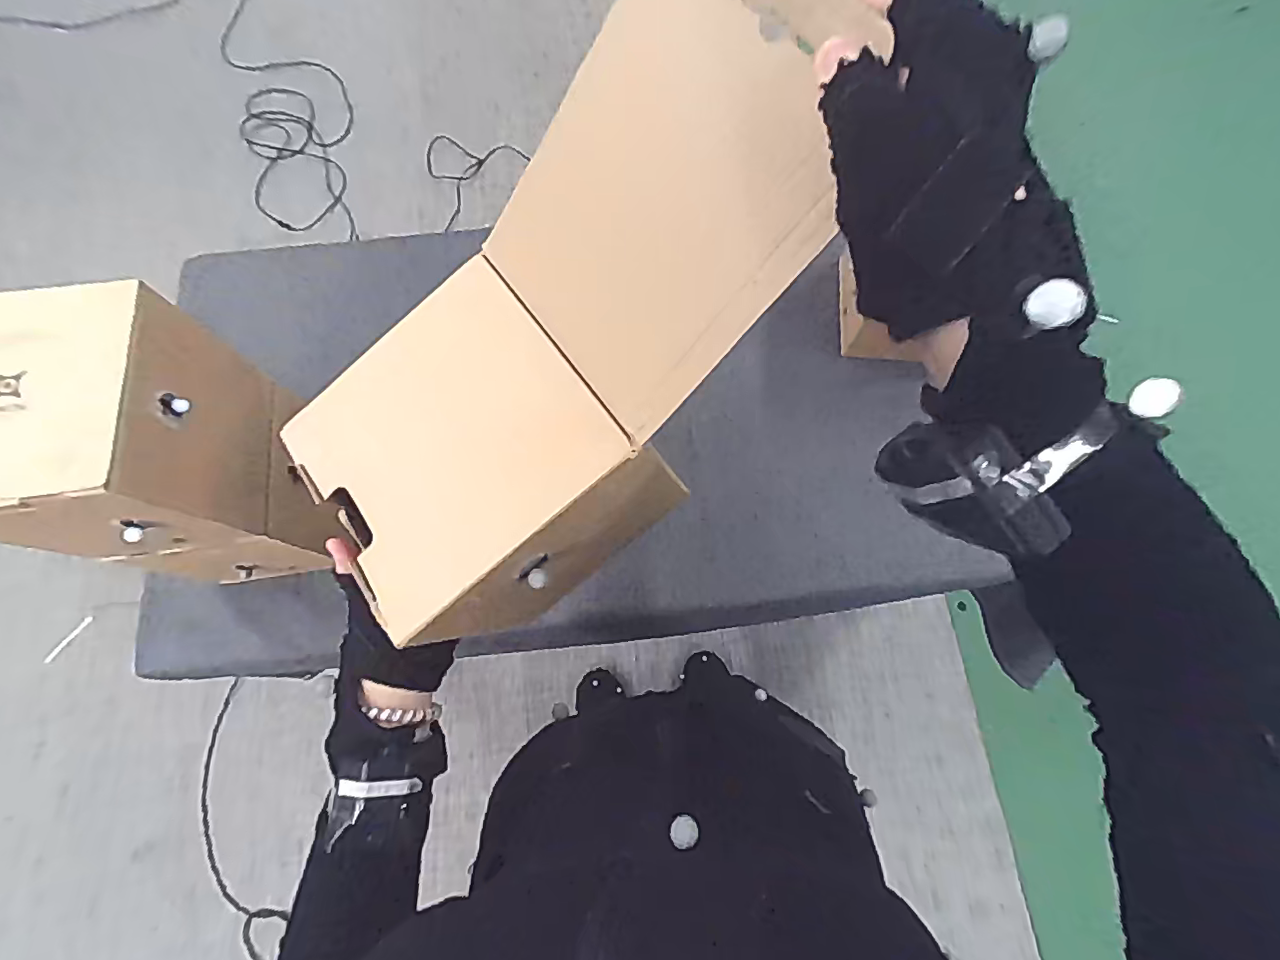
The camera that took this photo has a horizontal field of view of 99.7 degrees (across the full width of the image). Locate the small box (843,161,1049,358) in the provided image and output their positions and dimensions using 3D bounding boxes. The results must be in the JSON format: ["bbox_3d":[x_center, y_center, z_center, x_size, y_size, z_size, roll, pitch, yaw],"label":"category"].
[{"bbox_3d":[0.373,-0.272,0.695,0.179,0.176,0.168,6,74,2],"label":"small box"}]

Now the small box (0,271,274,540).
[{"bbox_3d":[-0.454,-0.049,0.468,0.168,0.176,0.179,-6,73,-3],"label":"small box"}]

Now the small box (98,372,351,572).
[{"bbox_3d":[-0.453,0.000,0.624,0.168,0.176,0.179,-8,74,-2],"label":"small box"}]

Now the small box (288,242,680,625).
[{"bbox_3d":[-0.092,-0.017,0.388,0.179,0.176,0.168,-37,74,5],"label":"small box"}]
